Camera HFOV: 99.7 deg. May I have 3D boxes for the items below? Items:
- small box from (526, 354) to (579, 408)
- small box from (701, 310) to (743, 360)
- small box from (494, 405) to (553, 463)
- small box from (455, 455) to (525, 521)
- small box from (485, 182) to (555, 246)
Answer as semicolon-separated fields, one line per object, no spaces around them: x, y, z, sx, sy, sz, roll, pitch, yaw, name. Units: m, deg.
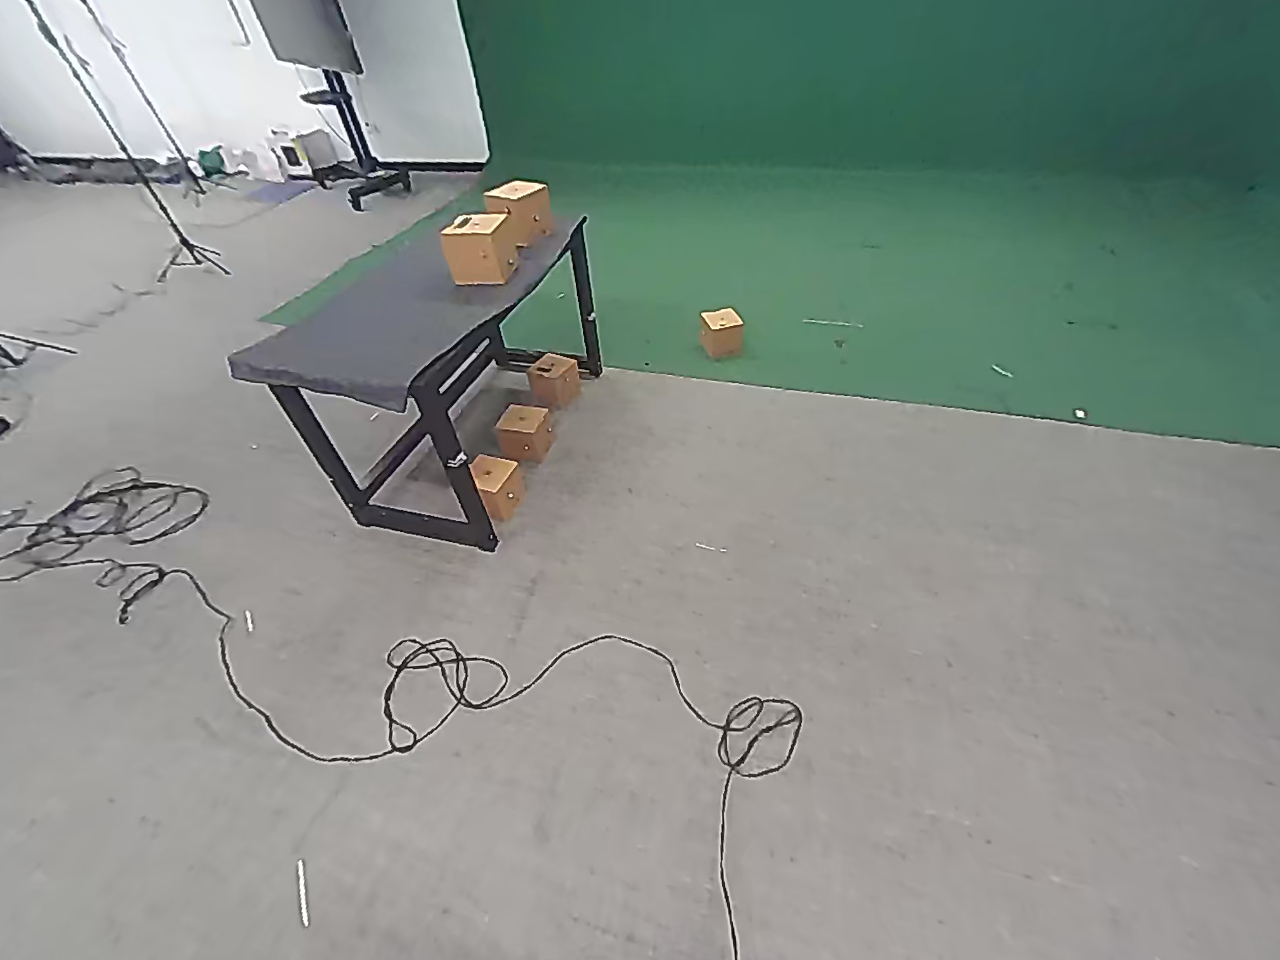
-0.399;-0.460;2.517;0.168;0.176;0.179;20;48;22;small box
0.409;-0.732;2.729;0.168;0.176;0.179;-13;44;-8;small box
-0.476;-0.188;2.250;0.179;0.176;0.168;7;45;13;small box
-0.556;0.034;2.035;0.179;0.176;0.168;13;47;17;small box
-0.441;-0.990;2.015;0.179;0.176;0.168;25;52;30;small box
